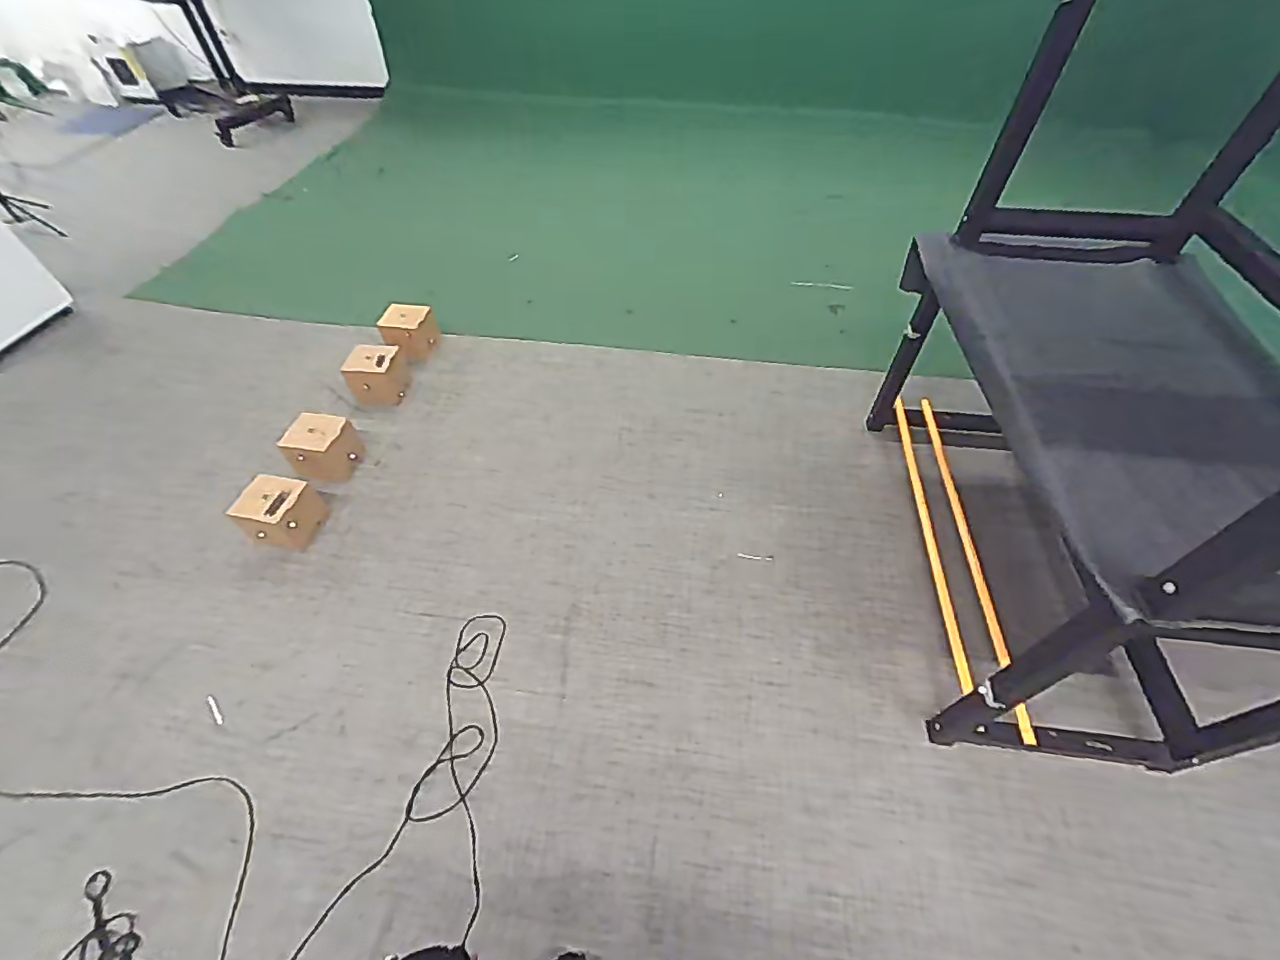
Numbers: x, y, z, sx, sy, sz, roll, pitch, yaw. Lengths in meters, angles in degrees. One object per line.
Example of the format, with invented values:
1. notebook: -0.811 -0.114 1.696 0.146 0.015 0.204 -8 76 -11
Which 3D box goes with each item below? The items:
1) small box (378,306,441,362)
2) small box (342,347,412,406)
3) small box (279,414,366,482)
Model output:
1. small box: -0.995 -0.631 2.347 0.179 0.176 0.168 6 51 4
2. small box: -1.042 -0.411 2.159 0.179 0.176 0.168 2 49 3
3. small box: -1.107 -0.110 1.901 0.179 0.176 0.168 8 51 5
